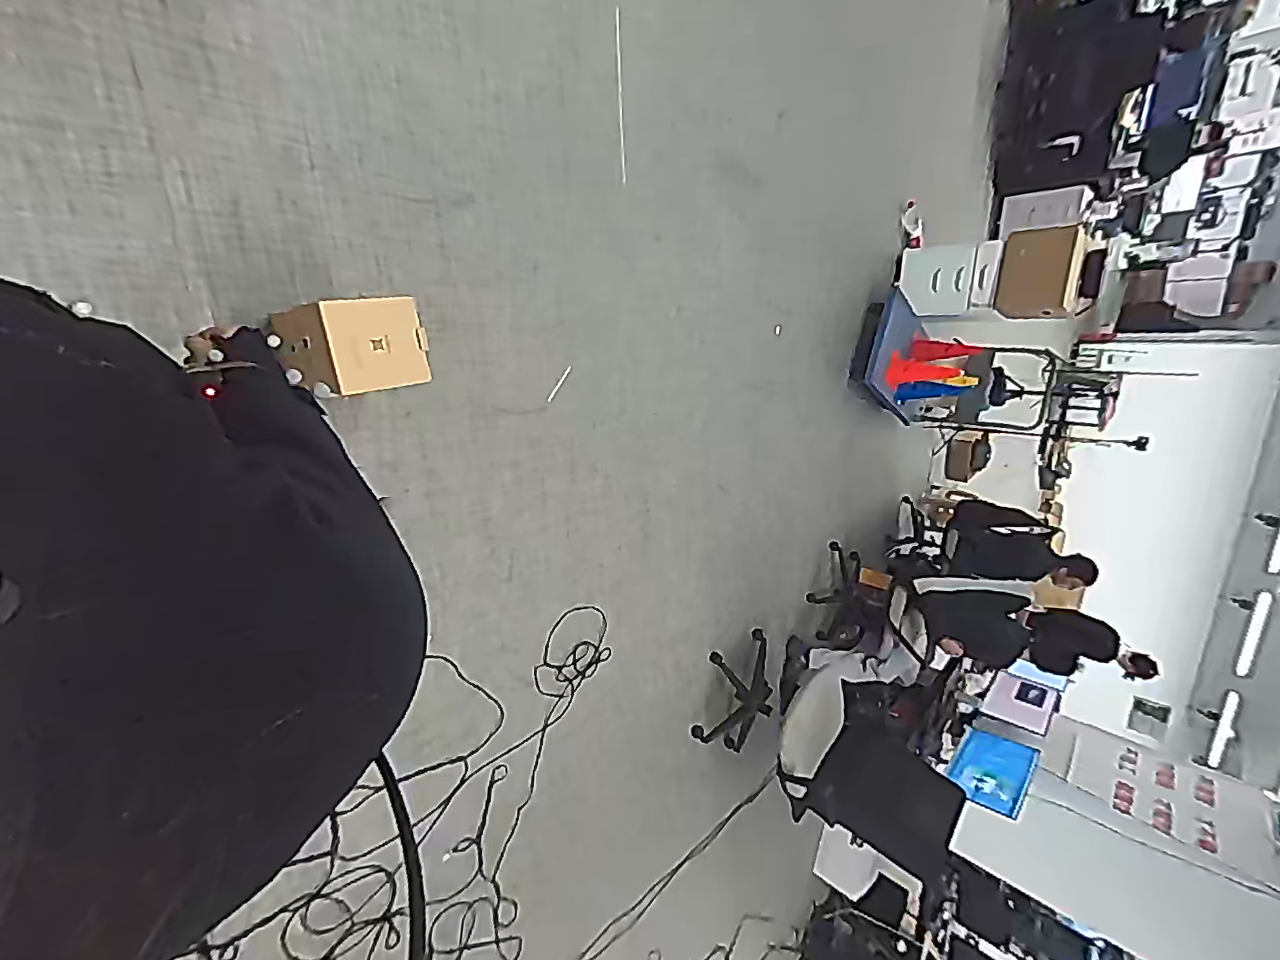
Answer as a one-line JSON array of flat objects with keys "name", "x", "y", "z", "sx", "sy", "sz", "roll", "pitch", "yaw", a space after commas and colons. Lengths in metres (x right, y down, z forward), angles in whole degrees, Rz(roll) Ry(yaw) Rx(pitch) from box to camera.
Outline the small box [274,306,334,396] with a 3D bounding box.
[{"name": "small box", "x": -0.662, "y": -0.282, "z": 1.170, "sx": 0.168, "sy": 0.176, "sz": 0.179, "roll": -22, "pitch": 114, "yaw": -42}]

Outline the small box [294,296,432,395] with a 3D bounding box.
[{"name": "small box", "x": -0.542, "y": -0.267, "z": 1.060, "sx": 0.179, "sy": 0.176, "sz": 0.168, "roll": -23, "pitch": 114, "yaw": -41}]
